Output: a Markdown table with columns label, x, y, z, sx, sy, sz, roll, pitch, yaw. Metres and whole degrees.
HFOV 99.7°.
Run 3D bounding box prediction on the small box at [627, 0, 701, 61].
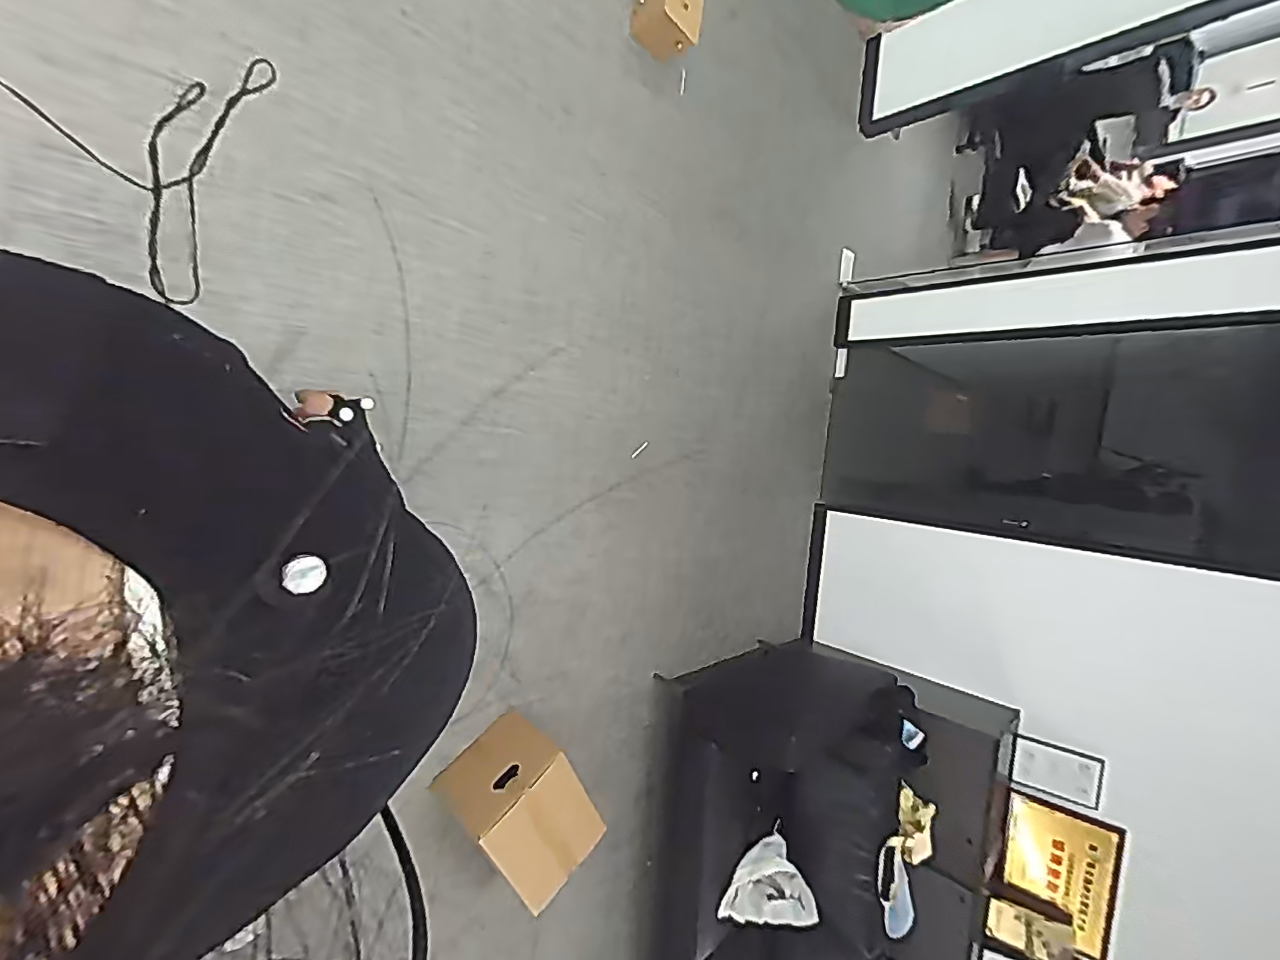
| label | x | y | z | sx | sy | sz | roll | pitch | yaw |
| --- | --- | --- | --- | --- | --- | --- | --- | --- | --- |
| small box | 0.082 | -1.596 | 1.863 | 0.179 | 0.176 | 0.168 | 9 | 90 | -45 |
